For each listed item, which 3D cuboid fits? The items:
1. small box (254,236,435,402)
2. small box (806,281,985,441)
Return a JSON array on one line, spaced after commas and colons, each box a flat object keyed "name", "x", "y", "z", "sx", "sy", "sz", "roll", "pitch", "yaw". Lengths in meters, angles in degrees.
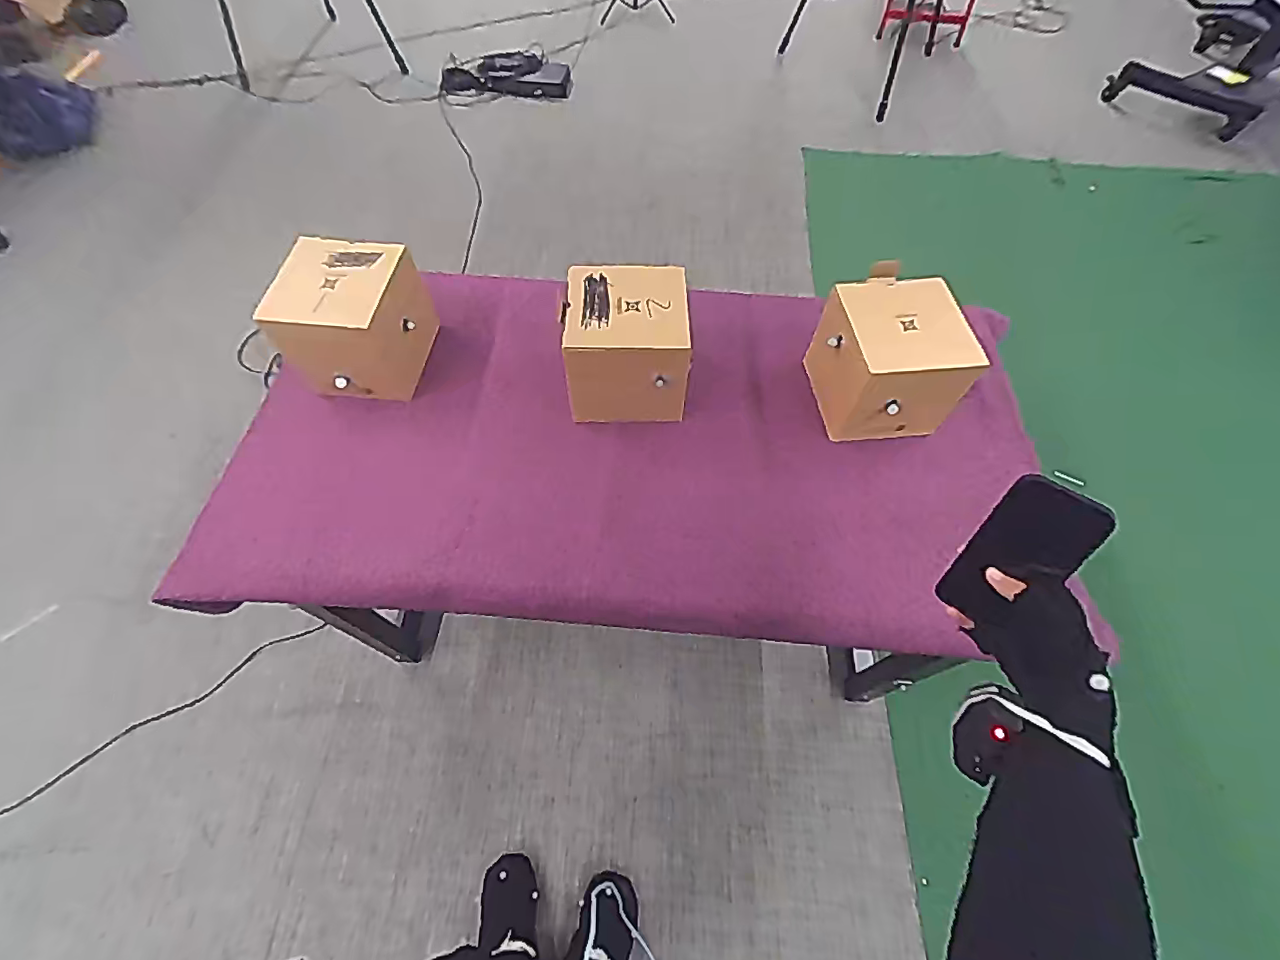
[{"name": "small box", "x": -0.440, "y": -0.247, "z": 0.845, "sx": 0.168, "sy": 0.176, "sz": 0.179, "roll": 6, "pitch": 62, "yaw": 2}, {"name": "small box", "x": 0.370, "y": -0.171, "z": 0.820, "sx": 0.168, "sy": 0.176, "sz": 0.179, "roll": -5, "pitch": 59, "yaw": -3}]
